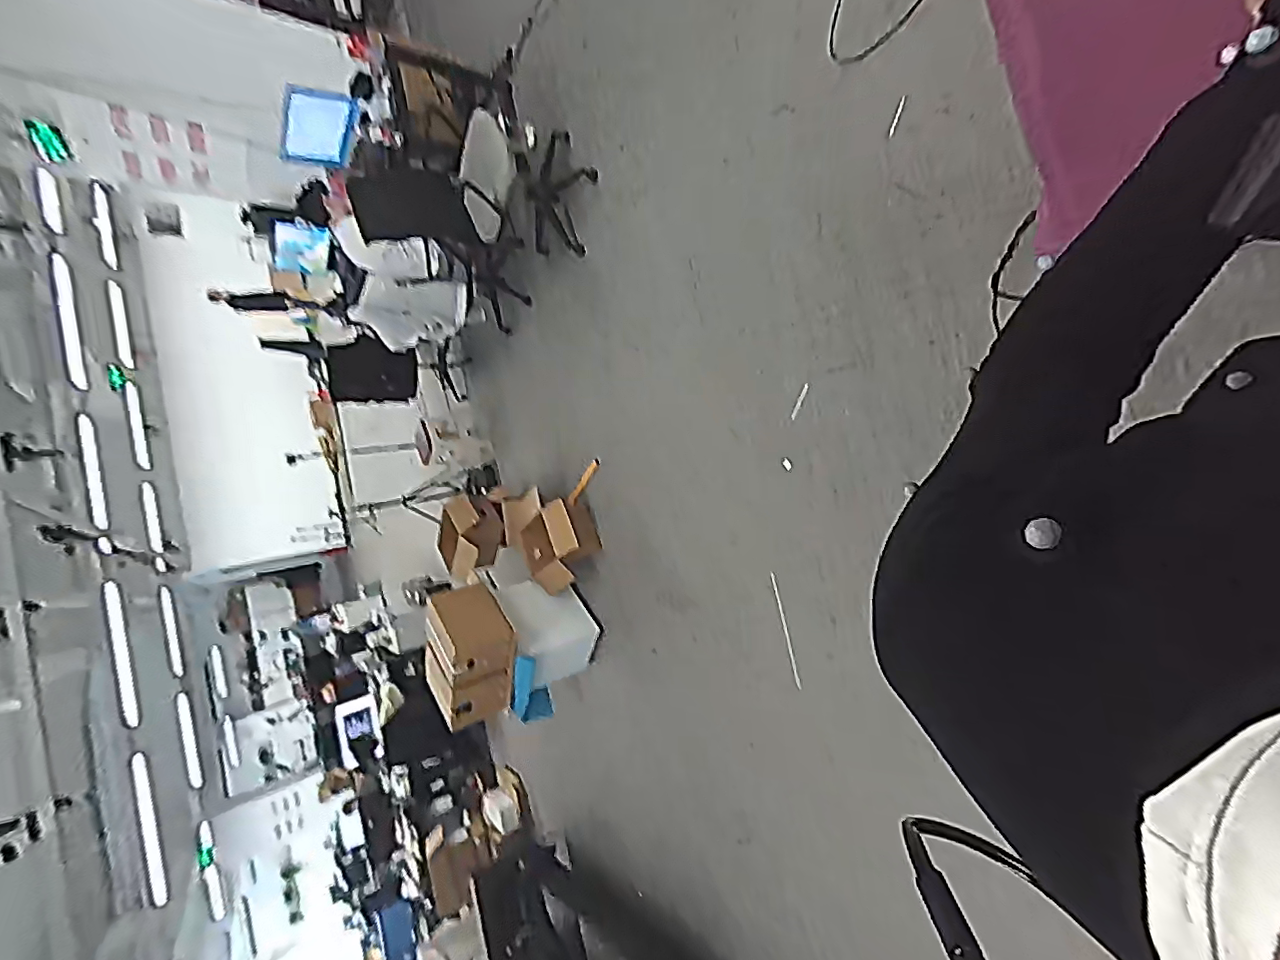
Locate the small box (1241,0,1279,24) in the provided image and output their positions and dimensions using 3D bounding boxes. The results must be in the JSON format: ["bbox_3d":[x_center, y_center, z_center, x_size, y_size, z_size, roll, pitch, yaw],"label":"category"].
[{"bbox_3d":[0.634,-0.572,0.479,0.179,0.176,0.168,-27,77,53],"label":"small box"}]
